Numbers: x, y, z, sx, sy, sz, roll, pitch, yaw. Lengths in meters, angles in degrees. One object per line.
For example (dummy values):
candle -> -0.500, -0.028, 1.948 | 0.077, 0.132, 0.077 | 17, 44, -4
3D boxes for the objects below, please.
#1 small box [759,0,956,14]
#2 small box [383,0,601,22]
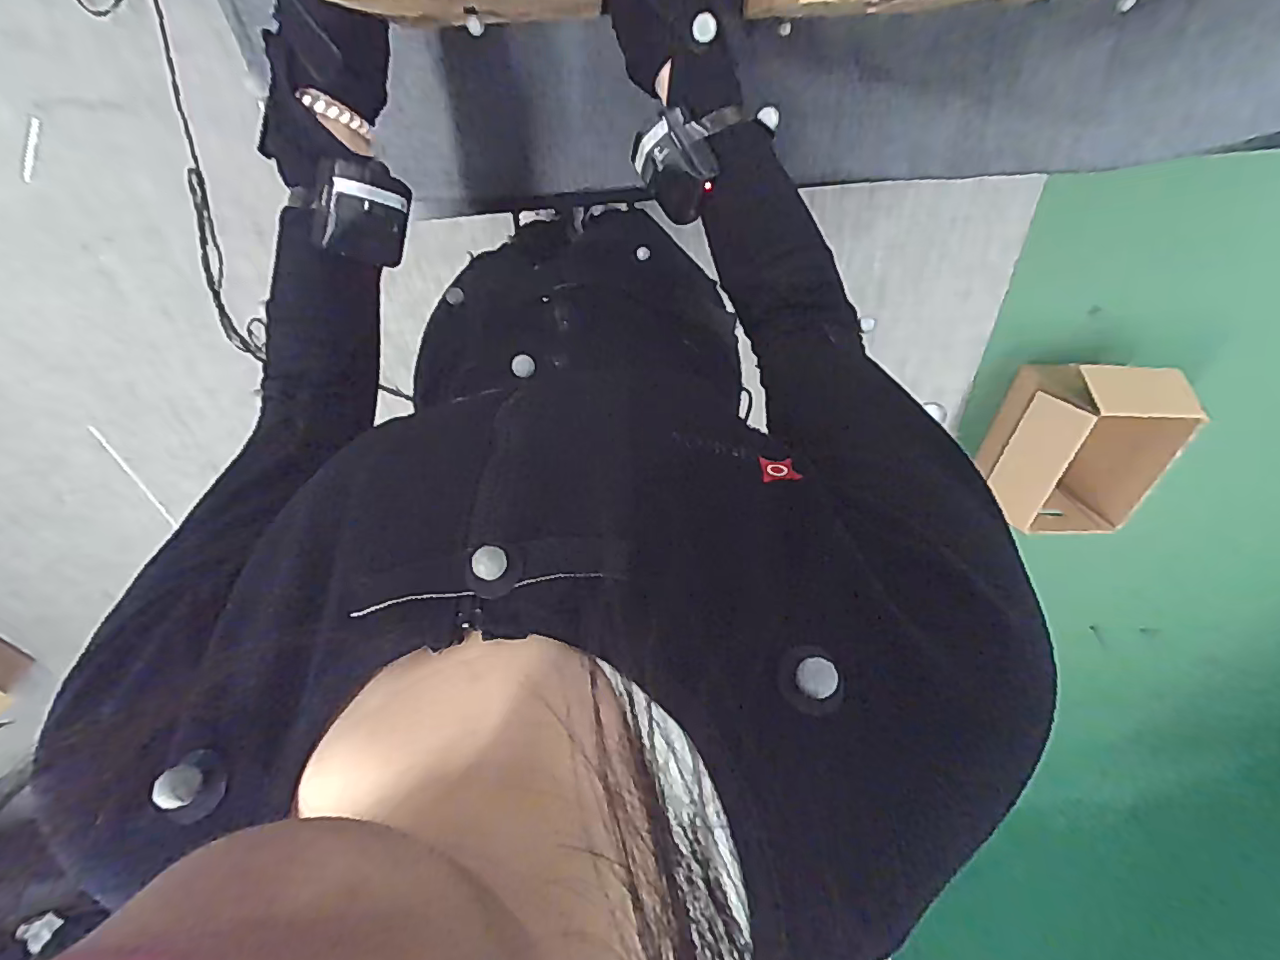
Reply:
small box -> 0.182, -0.455, 0.389 | 0.168, 0.176, 0.179 | -5, 127, -2
small box -> -0.107, -0.398, 0.321 | 0.168, 0.176, 0.179 | -6, 127, -3
